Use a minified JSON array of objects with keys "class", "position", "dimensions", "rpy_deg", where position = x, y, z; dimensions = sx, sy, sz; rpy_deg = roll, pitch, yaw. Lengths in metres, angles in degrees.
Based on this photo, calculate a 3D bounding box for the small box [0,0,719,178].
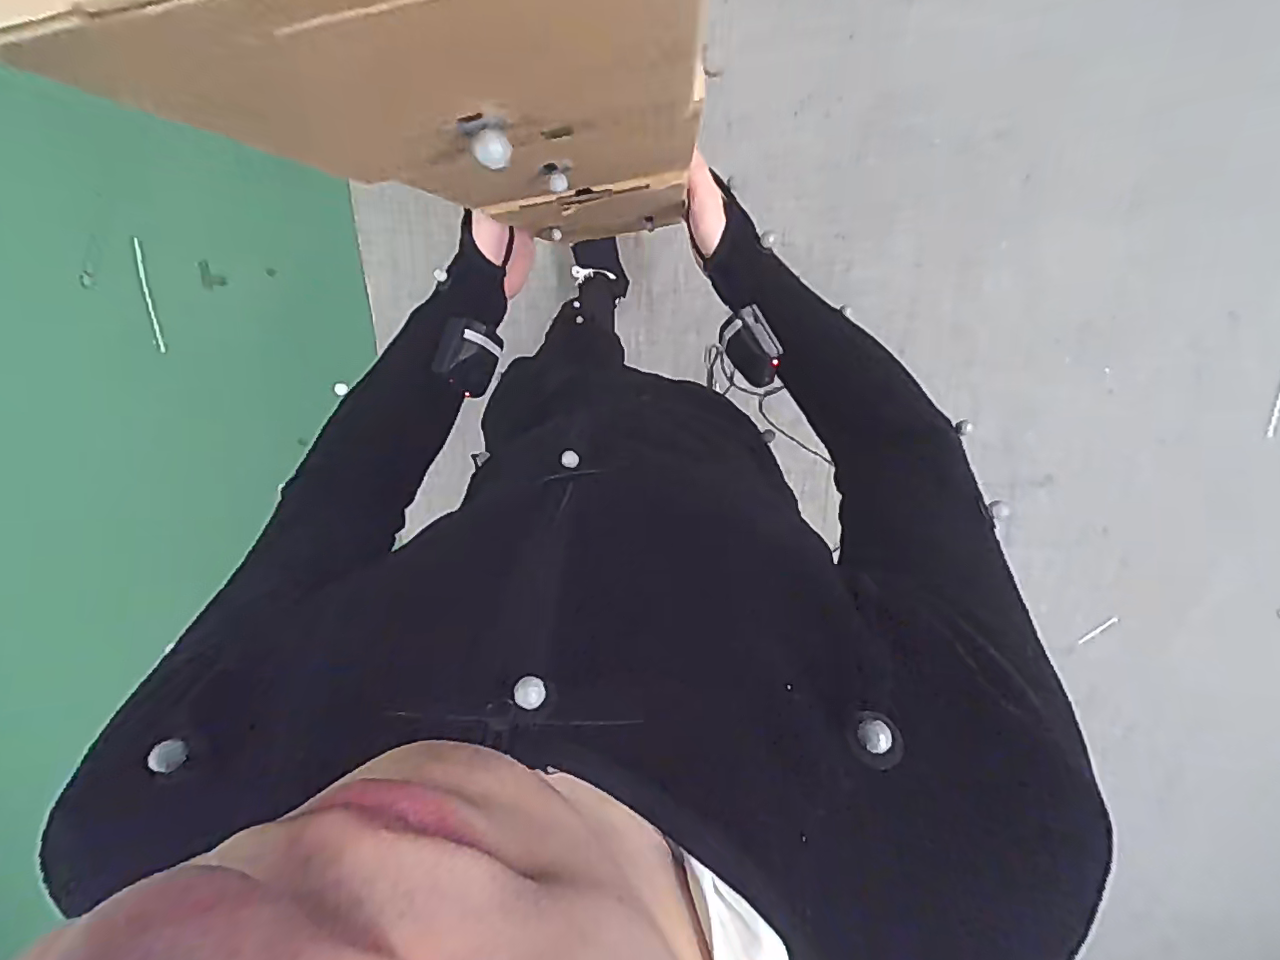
[{"class":"small box","position":[-0.069,-0.211,0.154],"dimensions":[0.168,0.176,0.179],"rpy_deg":[-7,109,6]}]

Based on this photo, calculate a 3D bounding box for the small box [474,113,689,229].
[{"class":"small box","position":[-0.048,-0.321,0.463],"dimensions":[0.168,0.176,0.179],"rpy_deg":[-6,108,4]}]
